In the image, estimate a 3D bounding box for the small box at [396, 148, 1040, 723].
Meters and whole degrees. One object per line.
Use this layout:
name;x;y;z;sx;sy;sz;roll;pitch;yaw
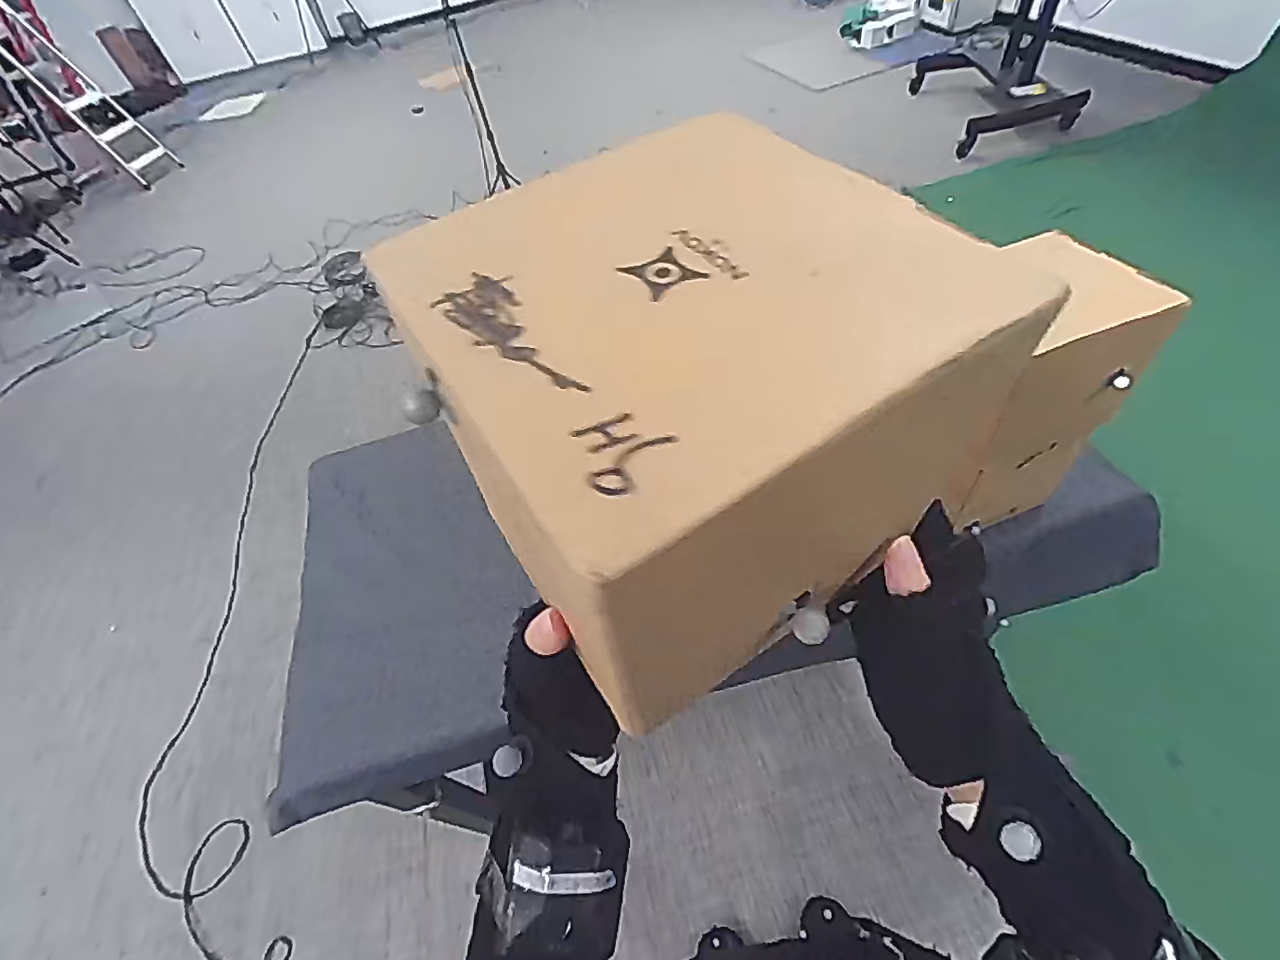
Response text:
small box;0.022;-0.020;0.258;0.179;0.176;0.168;-29;57;-19

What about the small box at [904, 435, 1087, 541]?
small box;0.448;-0.036;0.754;0.168;0.176;0.179;-21;49;-6

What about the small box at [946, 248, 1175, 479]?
small box;0.426;-0.132;0.625;0.179;0.176;0.168;-20;48;-4
